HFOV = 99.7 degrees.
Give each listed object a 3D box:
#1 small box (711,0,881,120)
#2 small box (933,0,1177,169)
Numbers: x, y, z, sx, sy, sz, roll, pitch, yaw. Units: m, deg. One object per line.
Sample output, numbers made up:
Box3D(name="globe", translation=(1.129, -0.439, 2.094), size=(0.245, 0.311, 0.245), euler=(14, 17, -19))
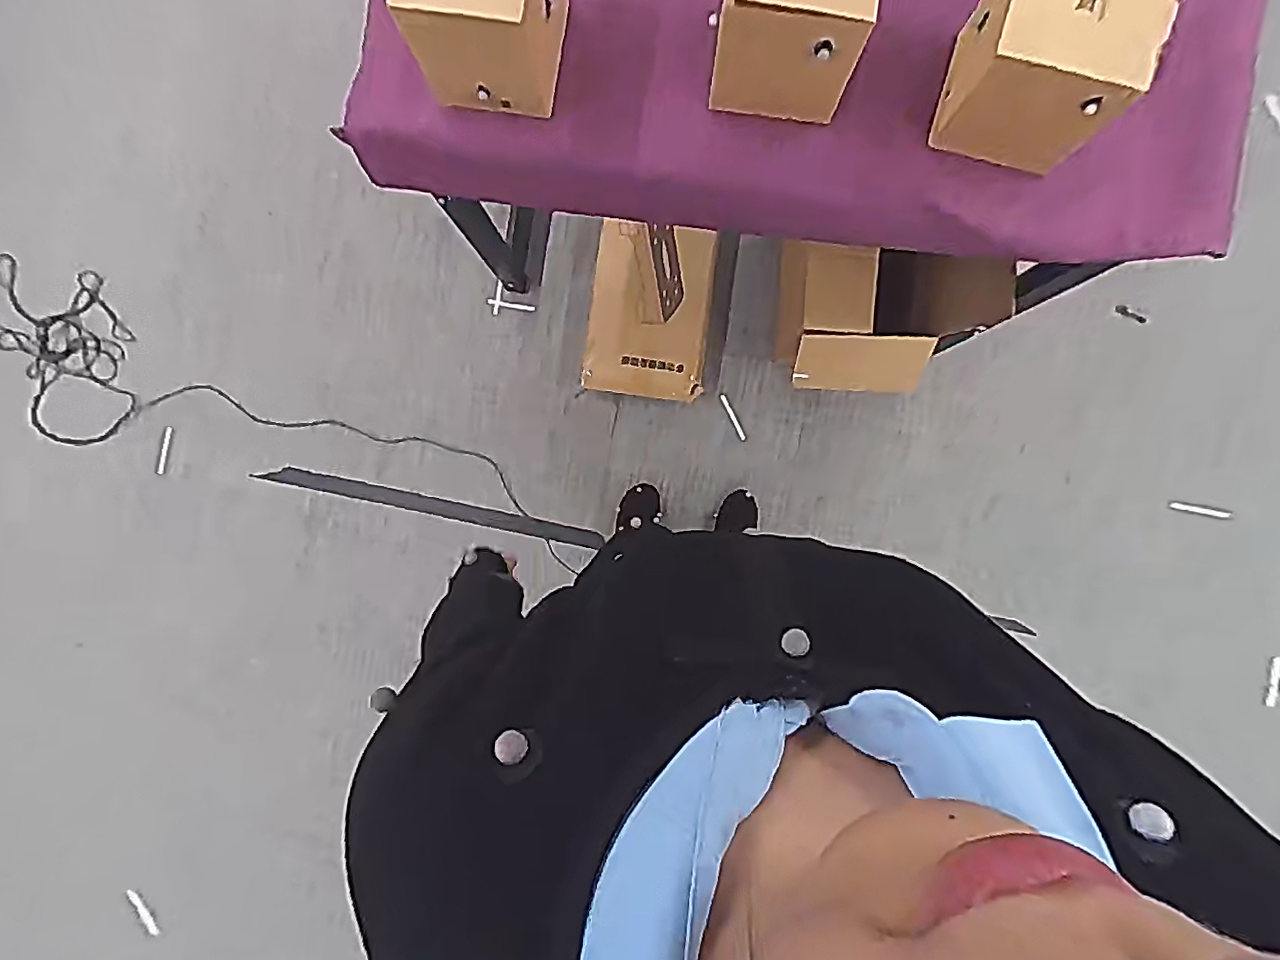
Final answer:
Box3D(name="small box", translation=(0.195, -0.600, 0.690), size=(0.179, 0.176, 0.168), euler=(9, 87, 2))
Box3D(name="small box", translation=(0.506, -0.529, 0.678), size=(0.179, 0.176, 0.168), euler=(16, 90, 2))
